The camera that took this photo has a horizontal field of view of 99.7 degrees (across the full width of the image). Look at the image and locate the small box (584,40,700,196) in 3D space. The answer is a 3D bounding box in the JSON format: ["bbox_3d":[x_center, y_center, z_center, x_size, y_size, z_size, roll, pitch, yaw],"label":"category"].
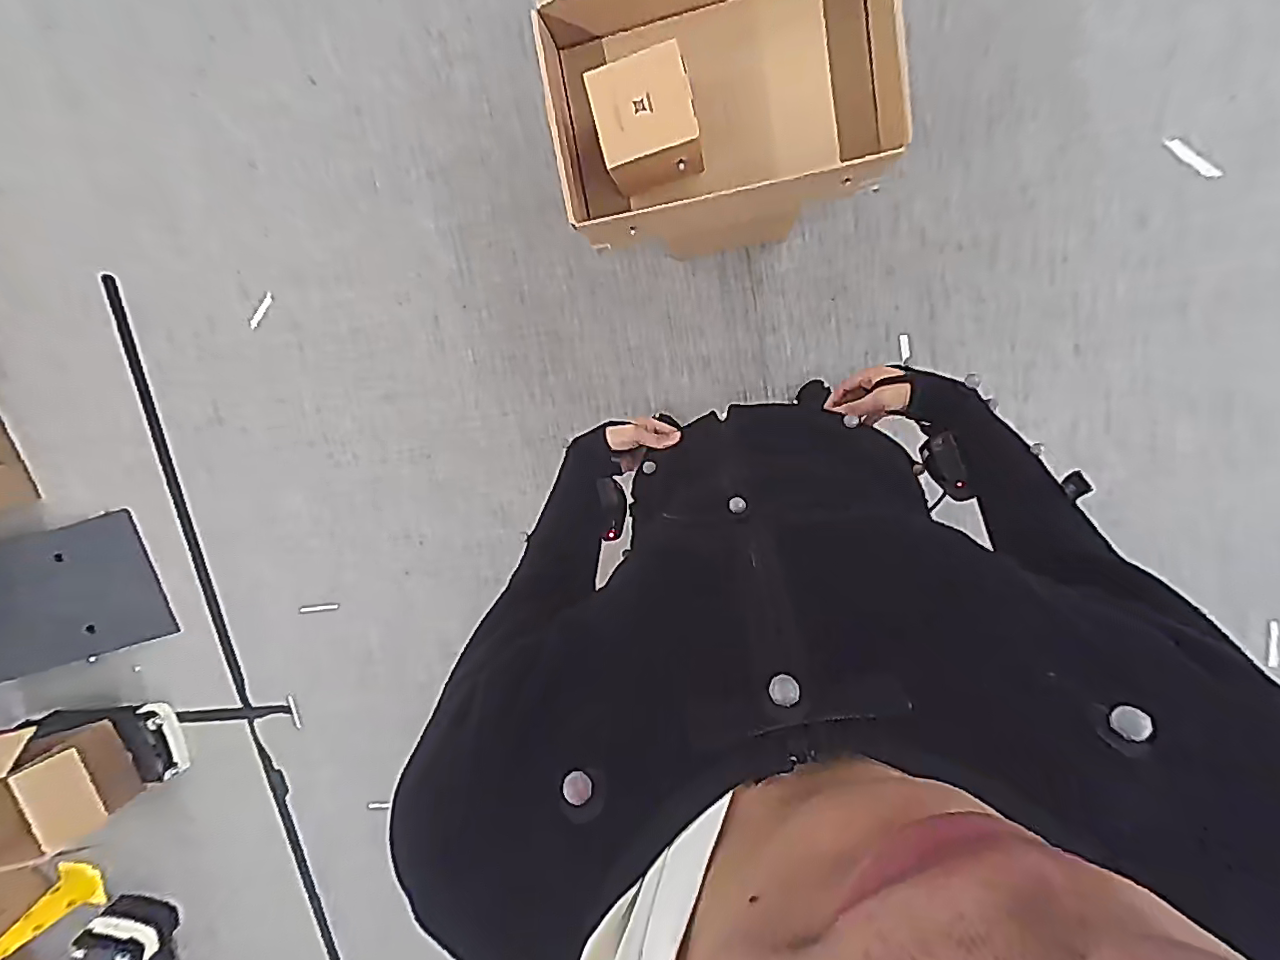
[{"bbox_3d":[0.014,-0.668,1.022,0.179,0.176,0.168,-13,98,12],"label":"small box"}]
